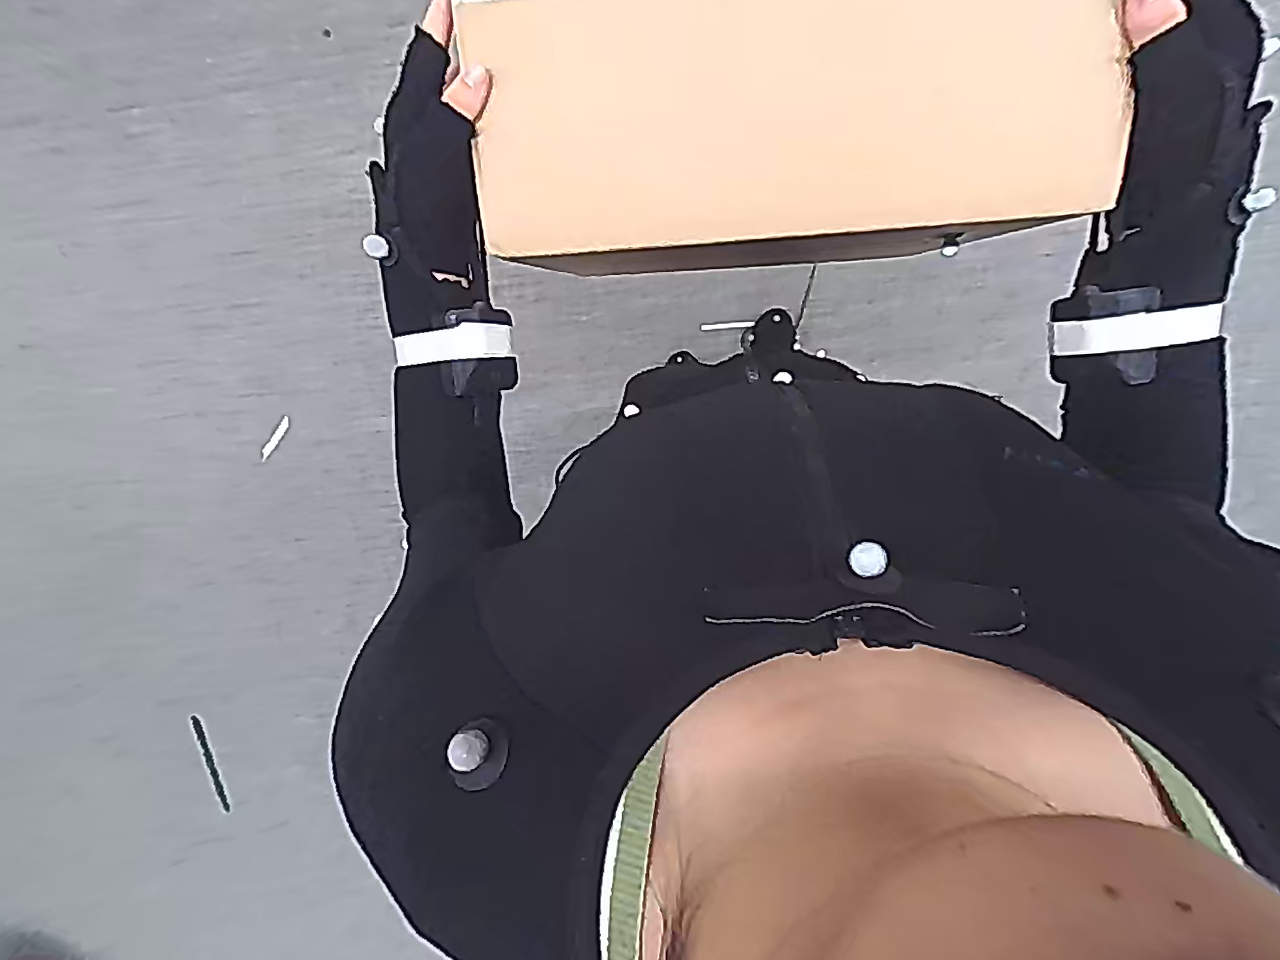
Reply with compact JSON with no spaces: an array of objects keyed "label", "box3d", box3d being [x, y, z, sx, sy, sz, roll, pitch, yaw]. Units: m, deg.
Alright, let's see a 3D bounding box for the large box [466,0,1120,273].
[{"label":"large box","box3d":[0.099,-0.361,0.467,0.408,0.320,0.320,-2,107,6]}]
